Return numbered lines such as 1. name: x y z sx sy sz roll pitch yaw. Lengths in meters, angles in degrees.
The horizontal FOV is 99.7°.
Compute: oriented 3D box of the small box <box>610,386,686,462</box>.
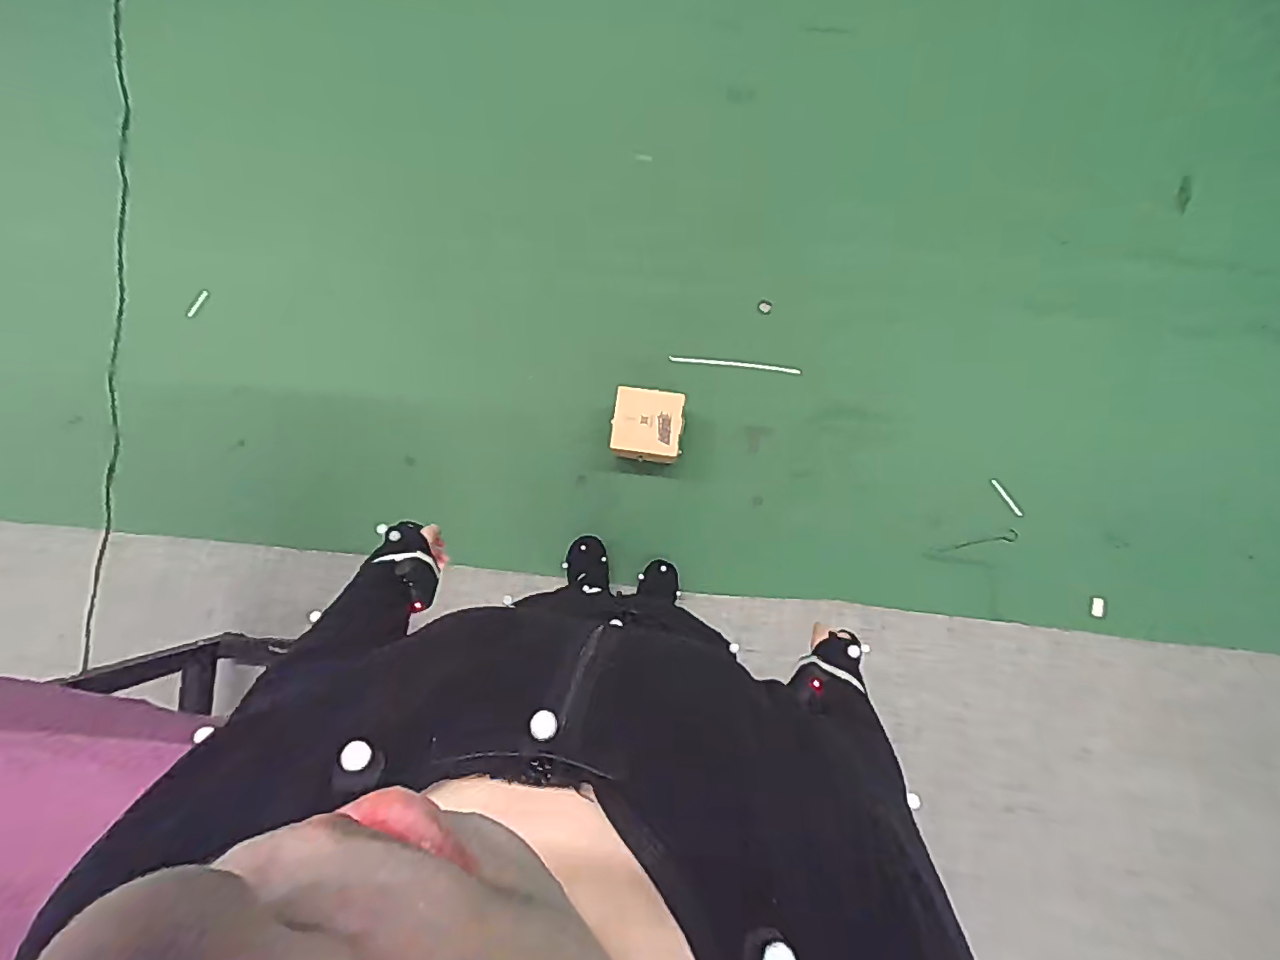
1. small box: 0.023 -0.145 1.455 0.179 0.176 0.168 8 86 3
